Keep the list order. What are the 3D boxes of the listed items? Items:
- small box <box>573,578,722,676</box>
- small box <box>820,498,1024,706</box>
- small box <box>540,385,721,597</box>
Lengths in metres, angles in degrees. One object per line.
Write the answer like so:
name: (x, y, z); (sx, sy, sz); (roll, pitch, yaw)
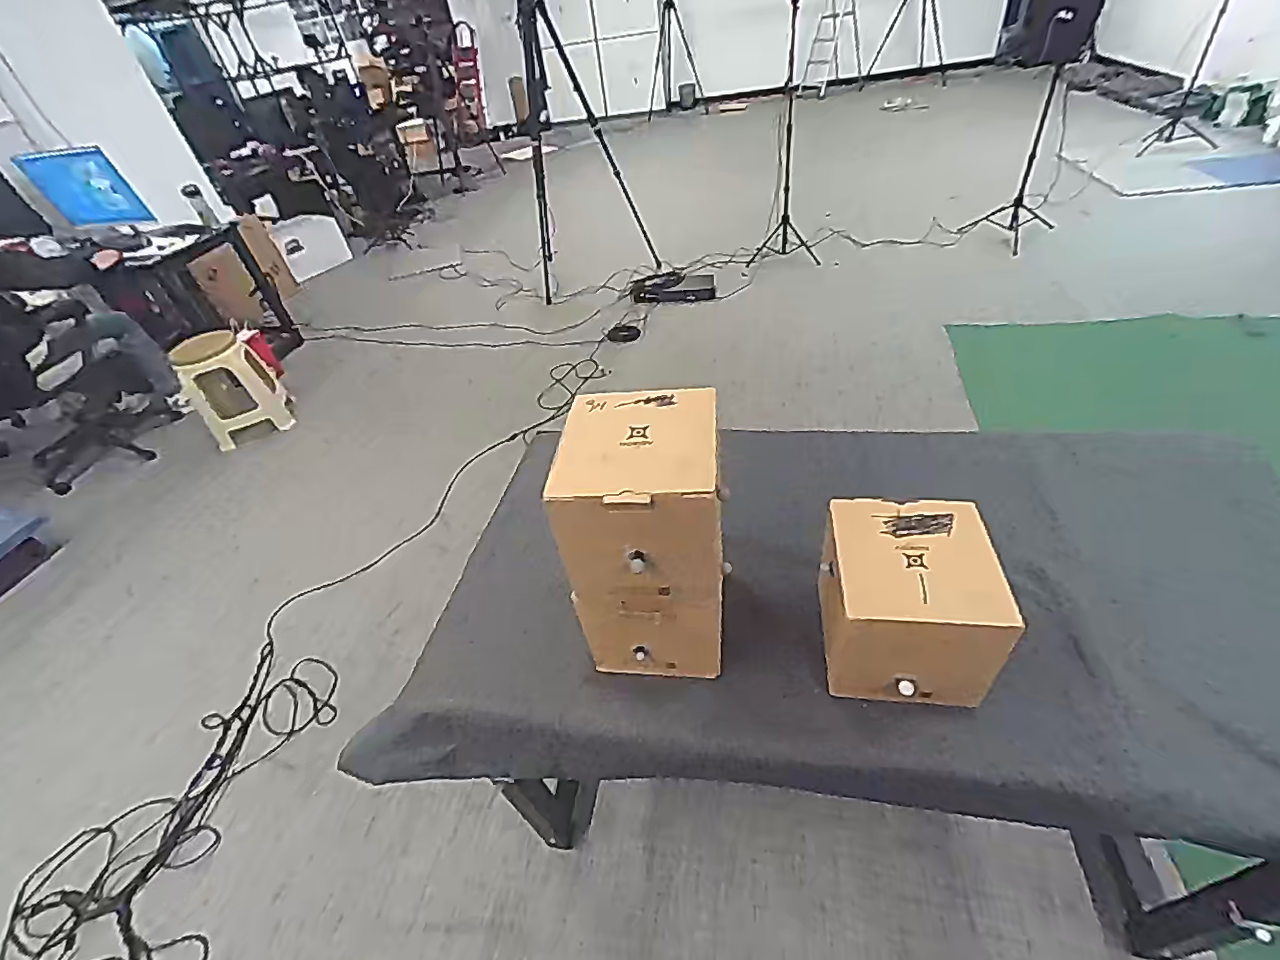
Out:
small box: (0.022, 0.135, 0.718); (0.168, 0.176, 0.179); (-1, 43, 10)
small box: (0.312, 0.142, 0.647); (0.168, 0.176, 0.179); (0, 42, 12)
small box: (0.005, 0.016, 0.606); (0.168, 0.176, 0.179); (-1, 43, 9)
